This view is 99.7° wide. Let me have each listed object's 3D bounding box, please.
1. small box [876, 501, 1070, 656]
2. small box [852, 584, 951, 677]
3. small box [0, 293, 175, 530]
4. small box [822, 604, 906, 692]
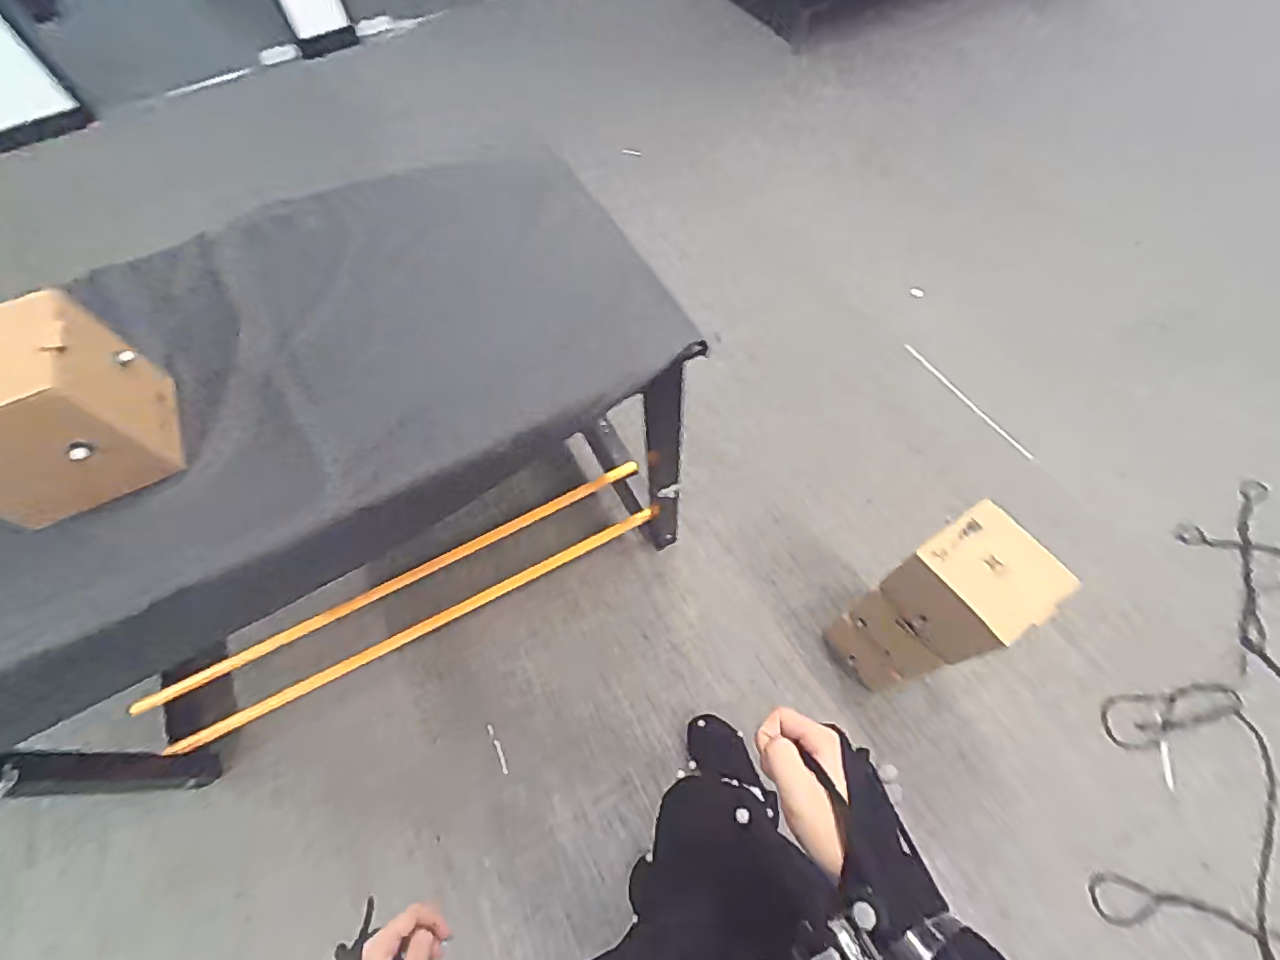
[{"bbox_3d":[0.533,0.171,0.893,0.168,0.176,0.179,-31,66,-14],"label":"small box"},{"bbox_3d":[0.535,0.252,1.035,0.179,0.176,0.168,-31,65,-15],"label":"small box"},{"bbox_3d":[-0.680,-0.072,0.619,0.179,0.176,0.168,-27,63,-11],"label":"small box"},{"bbox_3d":[0.529,0.335,1.177,0.179,0.176,0.168,-33,65,-14],"label":"small box"}]
